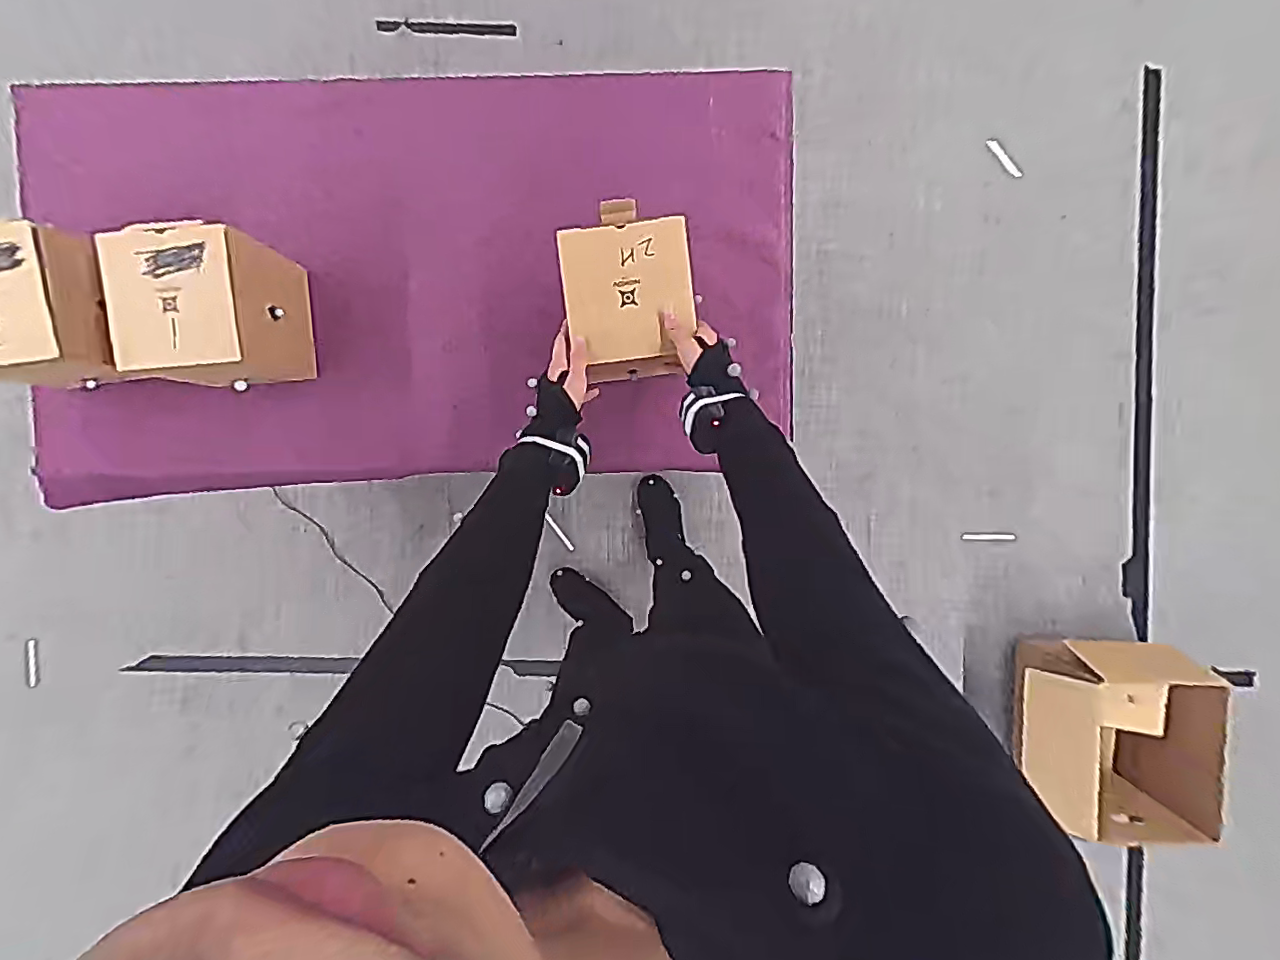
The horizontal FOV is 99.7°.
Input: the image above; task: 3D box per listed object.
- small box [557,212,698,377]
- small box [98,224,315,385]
[{"bbox_3d":[-0.013,-0.244,0.758,0.168,0.176,0.179,-7,93,1],"label":"small box"},{"bbox_3d":[-0.594,-0.236,0.764,0.168,0.176,0.179,-5,94,1],"label":"small box"}]
